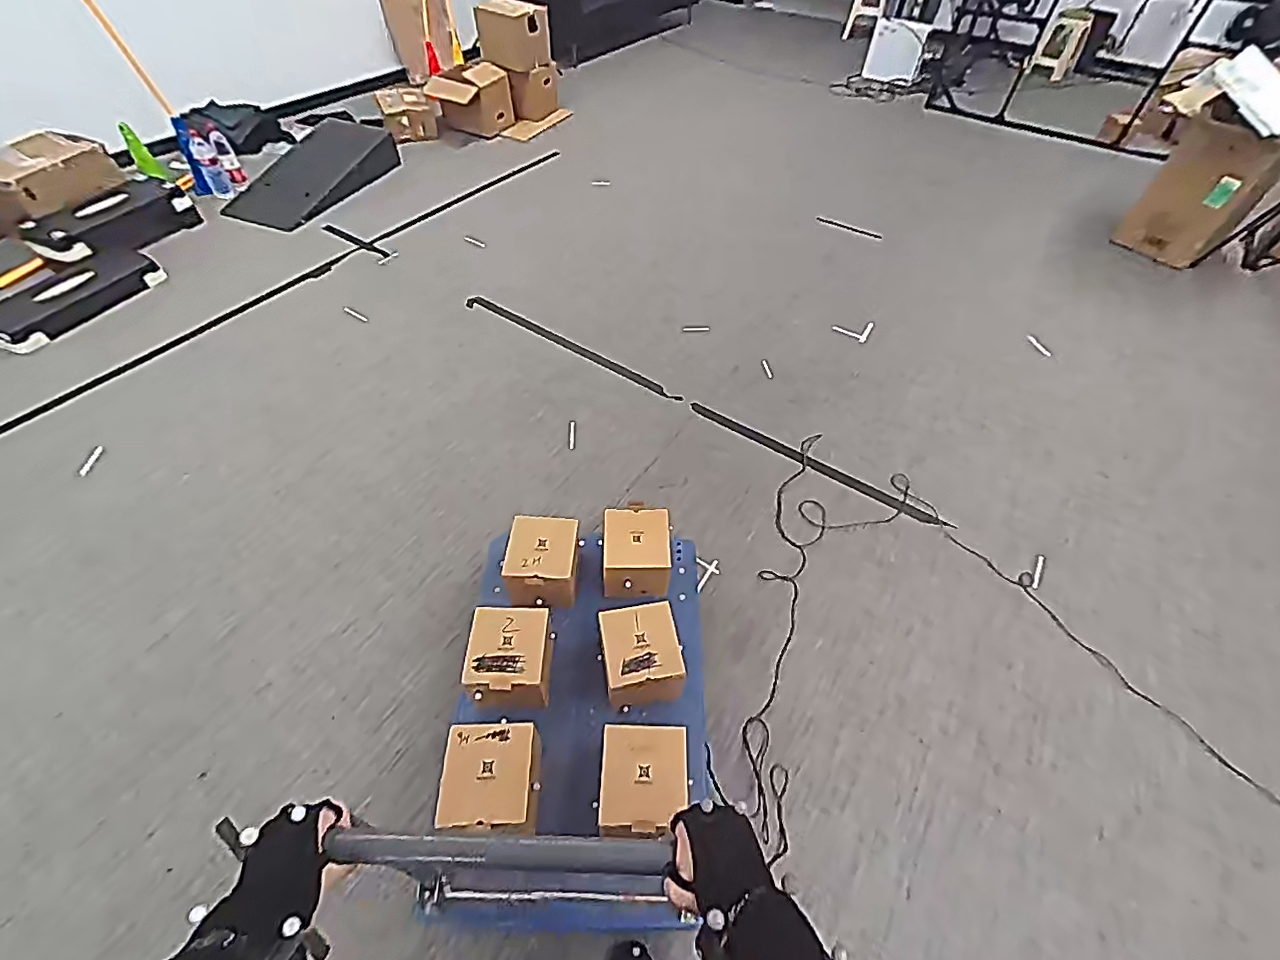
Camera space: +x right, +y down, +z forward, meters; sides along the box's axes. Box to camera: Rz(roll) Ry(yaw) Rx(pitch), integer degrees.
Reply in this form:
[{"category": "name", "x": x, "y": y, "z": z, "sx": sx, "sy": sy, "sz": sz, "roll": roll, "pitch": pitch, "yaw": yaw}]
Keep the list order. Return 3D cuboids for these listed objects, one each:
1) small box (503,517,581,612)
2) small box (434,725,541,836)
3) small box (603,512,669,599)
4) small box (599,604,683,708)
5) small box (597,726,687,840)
[{"category": "small box", "x": -0.244, "y": 0.219, "z": 1.394, "sx": 0.168, "sy": 0.176, "sz": 0.179, "roll": 4, "pitch": 52, "yaw": 0}, {"category": "small box", "x": -0.293, "y": 0.605, "z": 1.082, "sx": 0.168, "sy": 0.176, "sz": 0.179, "roll": 0, "pitch": 51, "yaw": -4}, {"category": "small box", "x": -0.012, "y": 0.202, "z": 1.423, "sx": 0.168, "sy": 0.176, "sz": 0.179, "roll": 0, "pitch": 51, "yaw": -3}, {"category": "small box", "x": -0.002, "y": 0.413, "z": 1.251, "sx": 0.168, "sy": 0.176, "sz": 0.179, "roll": -7, "pitch": 51, "yaw": -8}, {"category": "small box", "x": 0.005, "y": 0.614, "z": 1.090, "sx": 0.168, "sy": 0.176, "sz": 0.179, "roll": 3, "pitch": 50, "yaw": -1}]
